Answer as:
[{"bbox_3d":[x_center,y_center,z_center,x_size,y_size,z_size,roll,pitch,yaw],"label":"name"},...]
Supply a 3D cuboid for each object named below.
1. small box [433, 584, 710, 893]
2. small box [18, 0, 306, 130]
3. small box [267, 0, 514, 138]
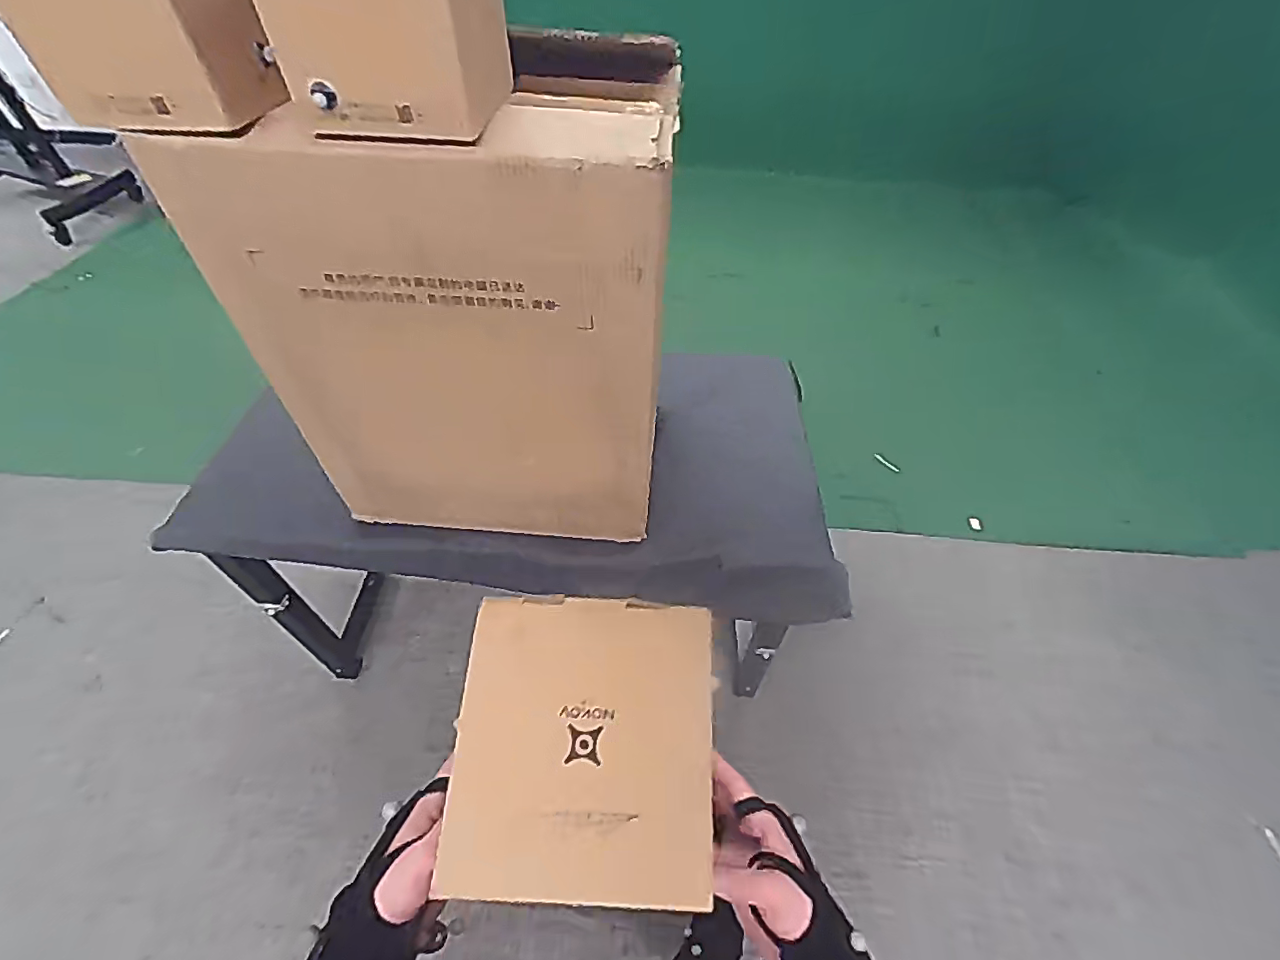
[{"bbox_3d":[-0.038,0.190,0.423,0.168,0.176,0.179,2,66,1],"label":"small box"},{"bbox_3d":[-0.447,-0.456,0.512,0.168,0.176,0.179,4,49,5],"label":"small box"},{"bbox_3d":[-0.224,-0.443,0.508,0.168,0.176,0.179,5,49,1],"label":"small box"}]
